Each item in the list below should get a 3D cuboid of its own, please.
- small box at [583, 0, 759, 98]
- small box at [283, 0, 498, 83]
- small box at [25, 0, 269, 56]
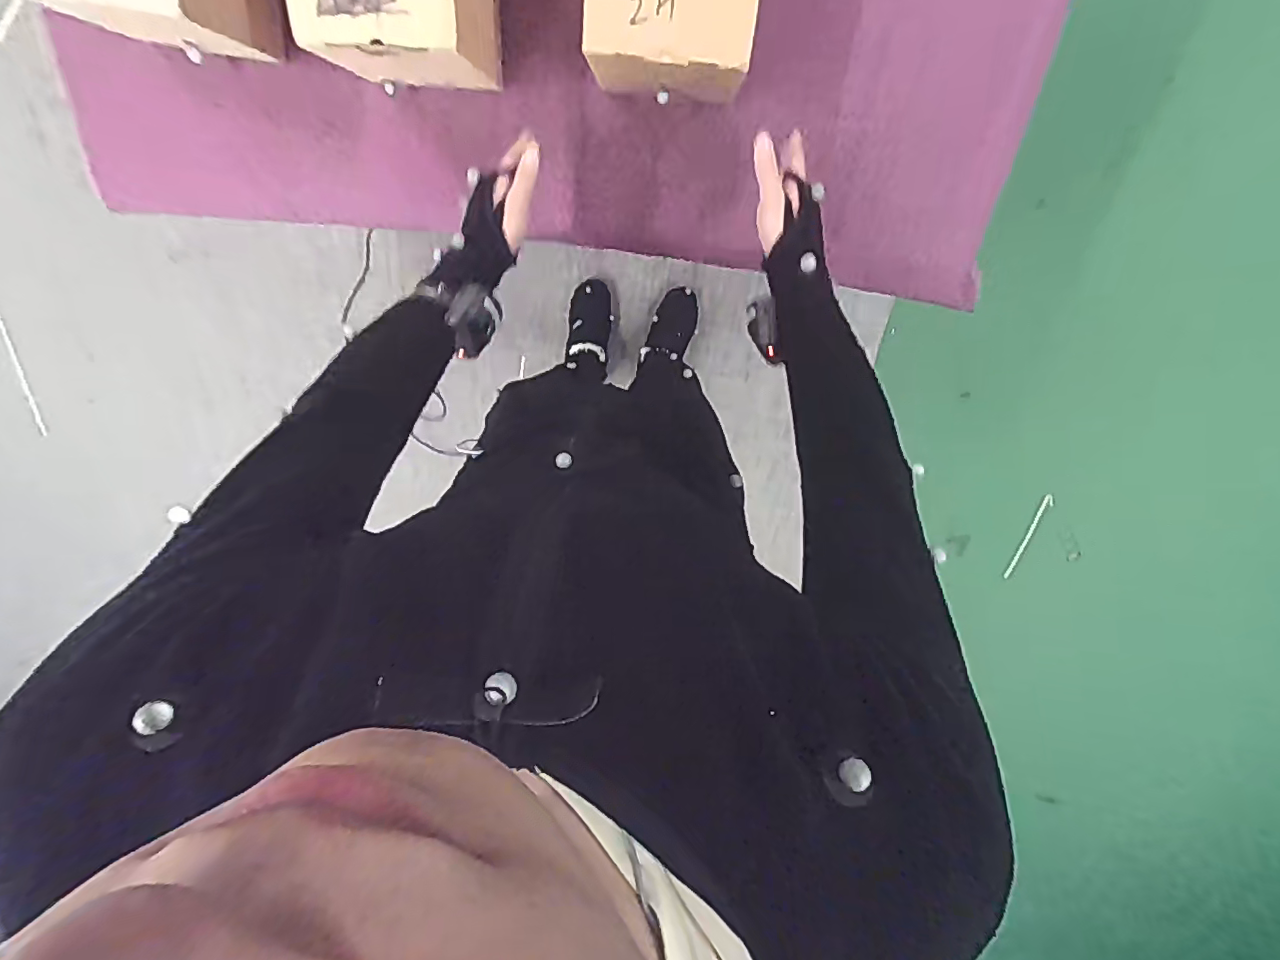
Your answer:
[{"bbox_3d":[0.036,-0.523,0.556,0.168,0.176,0.179,6,116,0],"label":"small box"},{"bbox_3d":[-0.251,-0.535,0.559,0.168,0.176,0.179,3,115,0],"label":"small box"},{"bbox_3d":[-0.517,-0.563,0.553,0.179,0.176,0.168,7,116,-3],"label":"small box"}]
